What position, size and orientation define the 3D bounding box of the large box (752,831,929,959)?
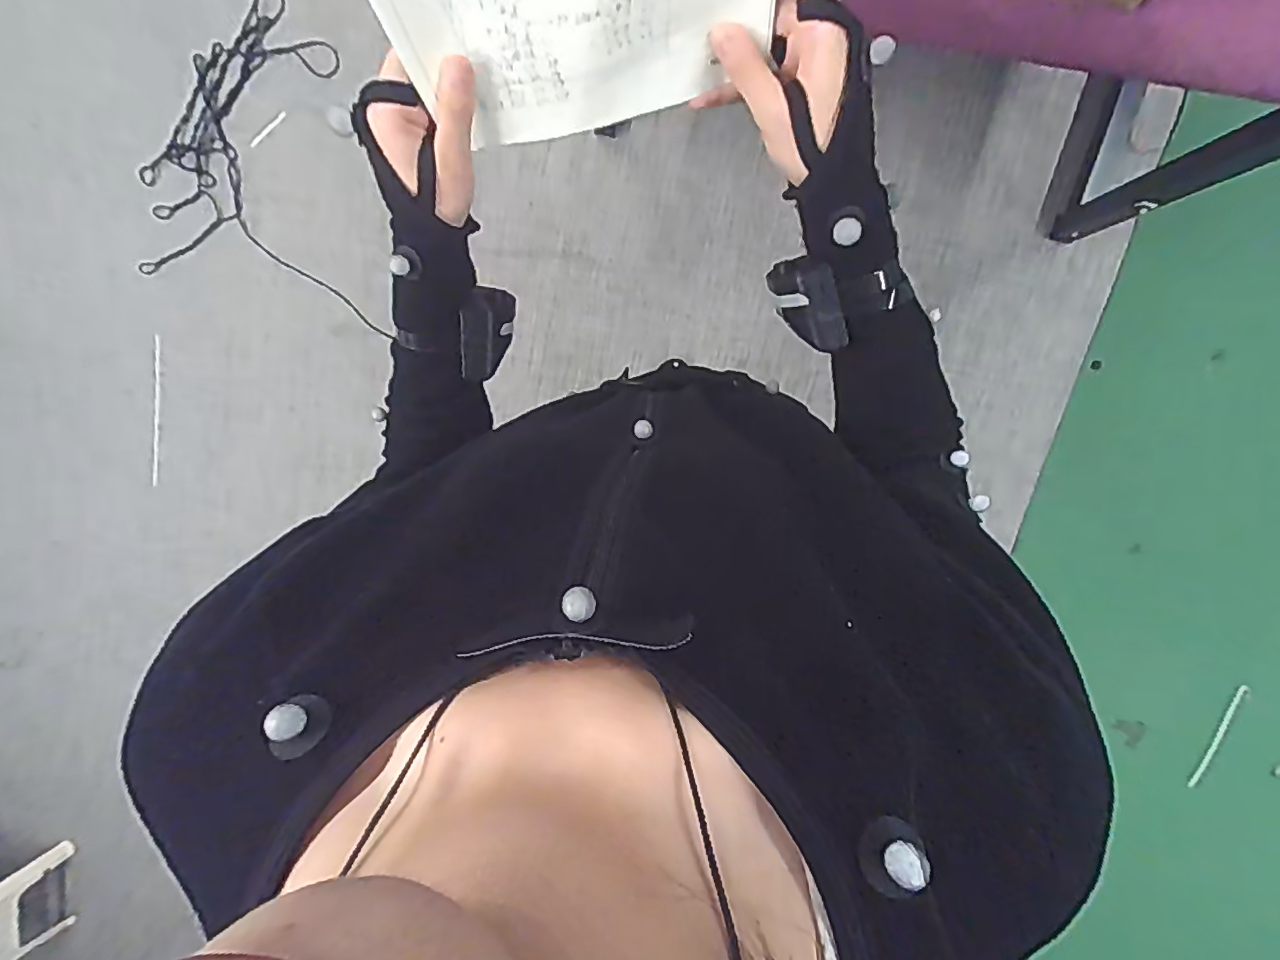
[{"bbox_3d":[0.531,1.248,1.518,0.408,0.320,0.320,0,101,6],"label":"large box"}]
